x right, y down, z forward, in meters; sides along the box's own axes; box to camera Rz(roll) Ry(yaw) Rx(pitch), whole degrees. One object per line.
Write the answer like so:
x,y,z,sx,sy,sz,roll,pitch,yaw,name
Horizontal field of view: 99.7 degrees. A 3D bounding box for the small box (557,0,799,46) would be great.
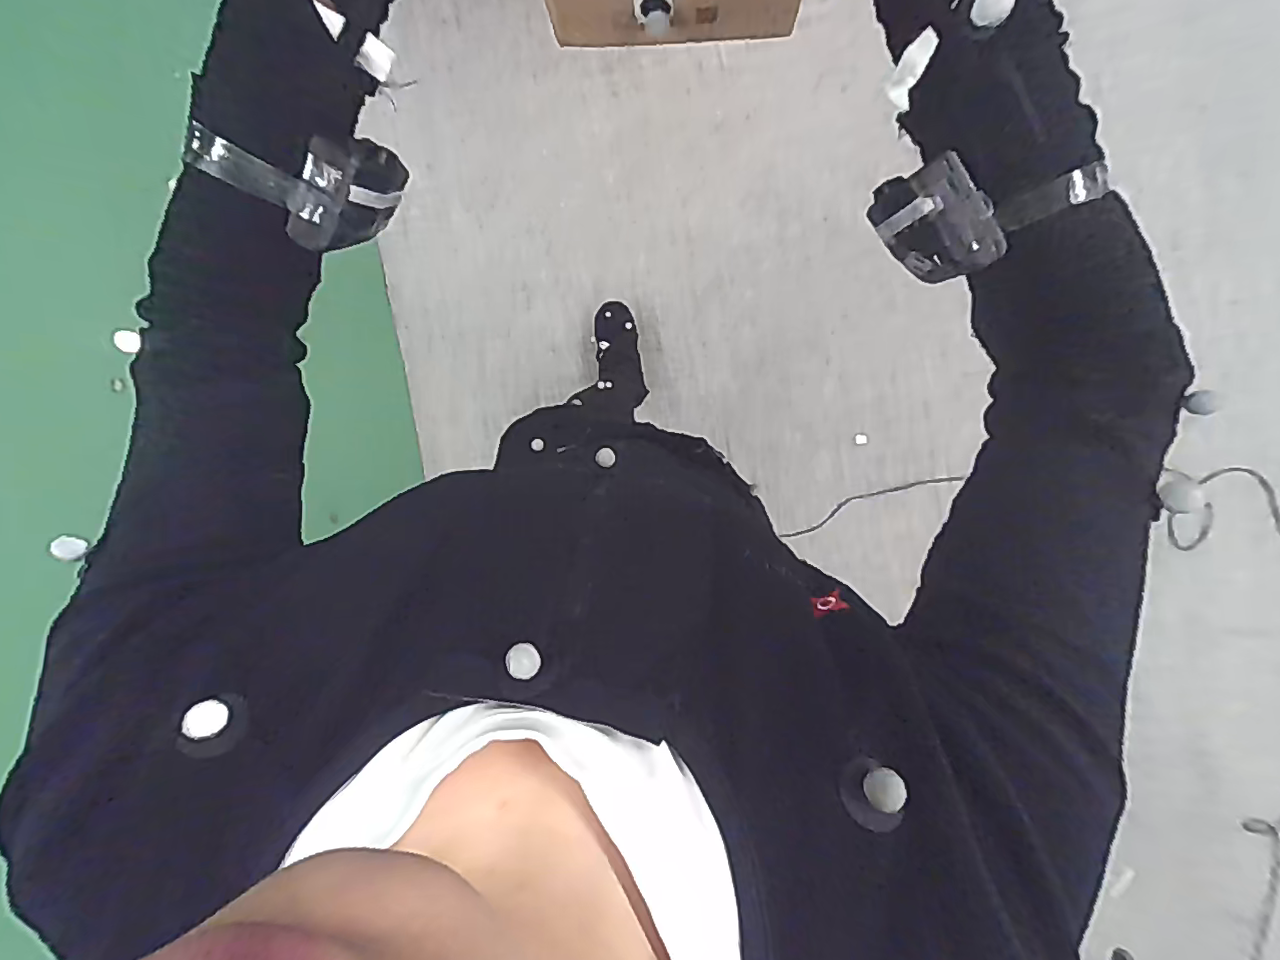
0.019,-0.387,0.292,0.168,0.176,0.179,0,93,4,small box
